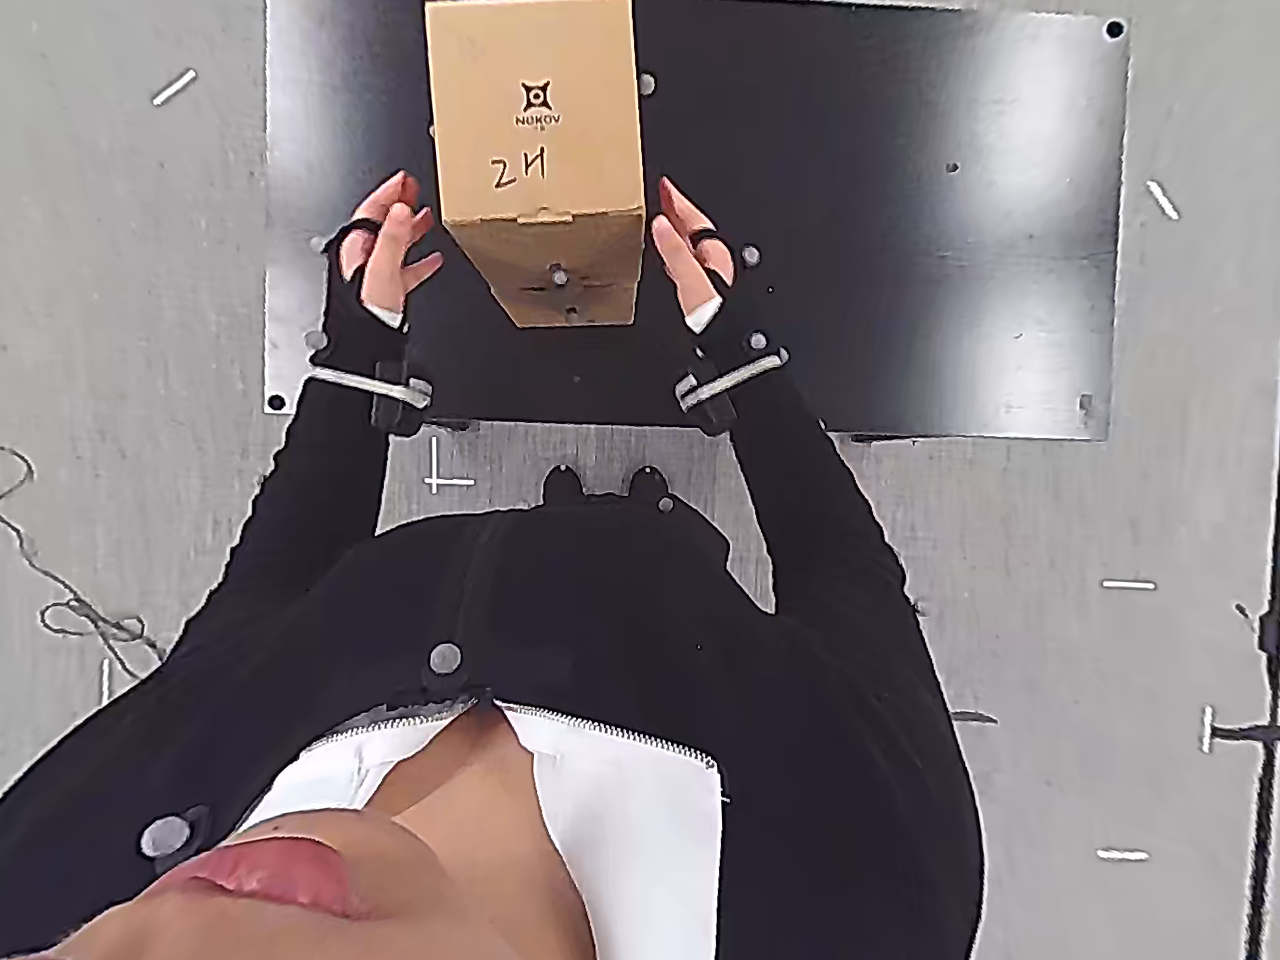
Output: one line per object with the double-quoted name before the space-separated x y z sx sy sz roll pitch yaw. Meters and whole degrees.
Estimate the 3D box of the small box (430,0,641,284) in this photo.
"small box" -0.087 -0.305 0.516 0.168 0.176 0.179 -3 91 -1

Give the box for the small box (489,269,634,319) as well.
"small box" -0.092 -0.307 0.683 0.168 0.176 0.179 -2 92 -1
